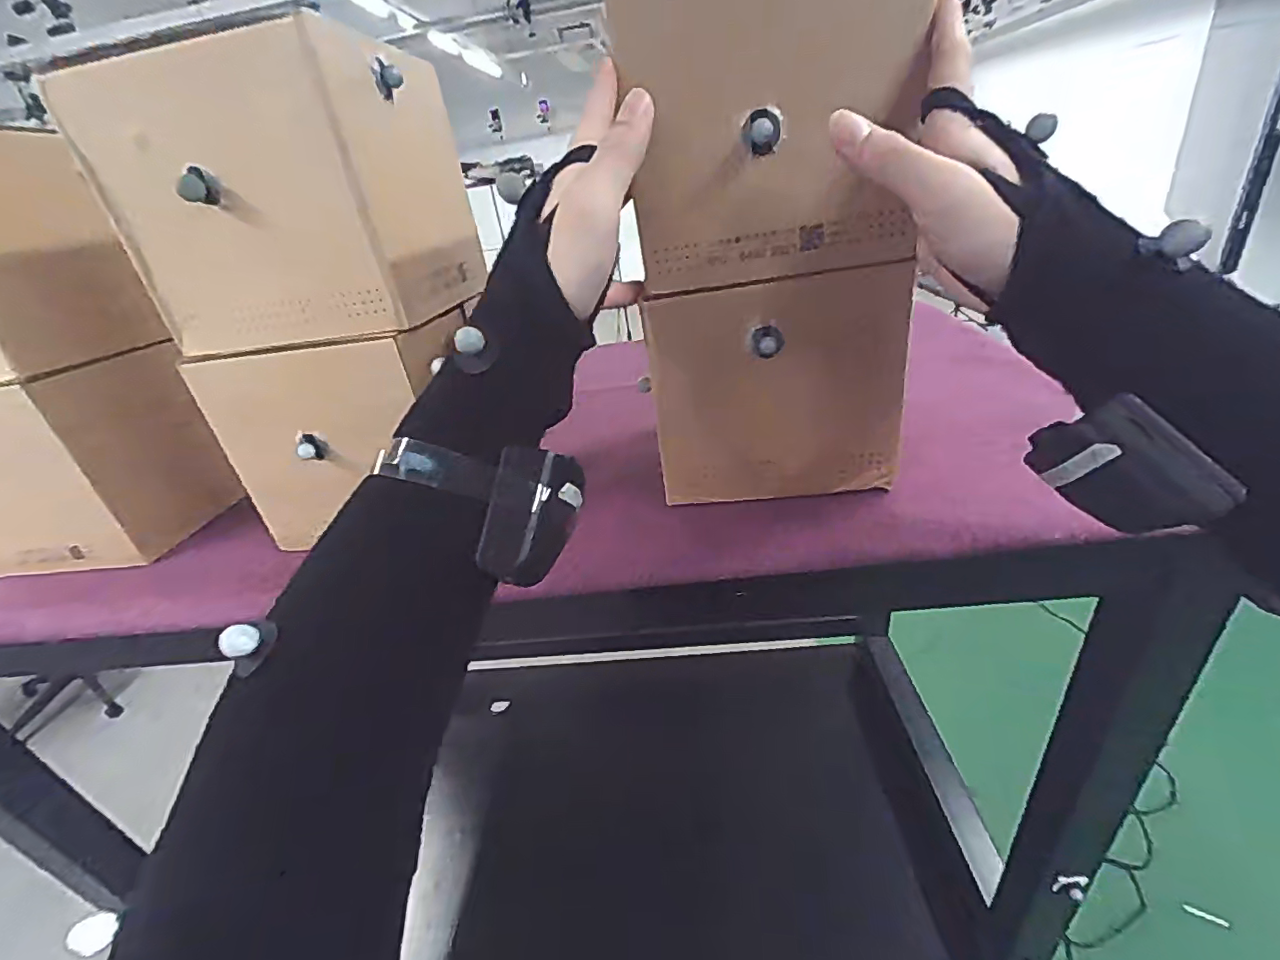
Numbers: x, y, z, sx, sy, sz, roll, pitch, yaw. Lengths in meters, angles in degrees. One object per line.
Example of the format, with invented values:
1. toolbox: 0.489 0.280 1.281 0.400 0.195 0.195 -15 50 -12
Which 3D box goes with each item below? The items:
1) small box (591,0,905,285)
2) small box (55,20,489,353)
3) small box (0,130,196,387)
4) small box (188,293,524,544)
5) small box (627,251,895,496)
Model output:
1. small box: 0.077 -0.241 0.379 0.168 0.176 0.179 -5 30 10
2. small box: -0.241 -0.203 0.409 0.179 0.176 0.168 -6 29 9
3. small box: -0.529 -0.178 0.454 0.168 0.176 0.179 -4 27 11
4. small box: -0.222 -0.057 0.482 0.179 0.176 0.168 -5 29 12
5. small box: 0.099 -0.096 0.454 0.179 0.176 0.168 -4 29 11
